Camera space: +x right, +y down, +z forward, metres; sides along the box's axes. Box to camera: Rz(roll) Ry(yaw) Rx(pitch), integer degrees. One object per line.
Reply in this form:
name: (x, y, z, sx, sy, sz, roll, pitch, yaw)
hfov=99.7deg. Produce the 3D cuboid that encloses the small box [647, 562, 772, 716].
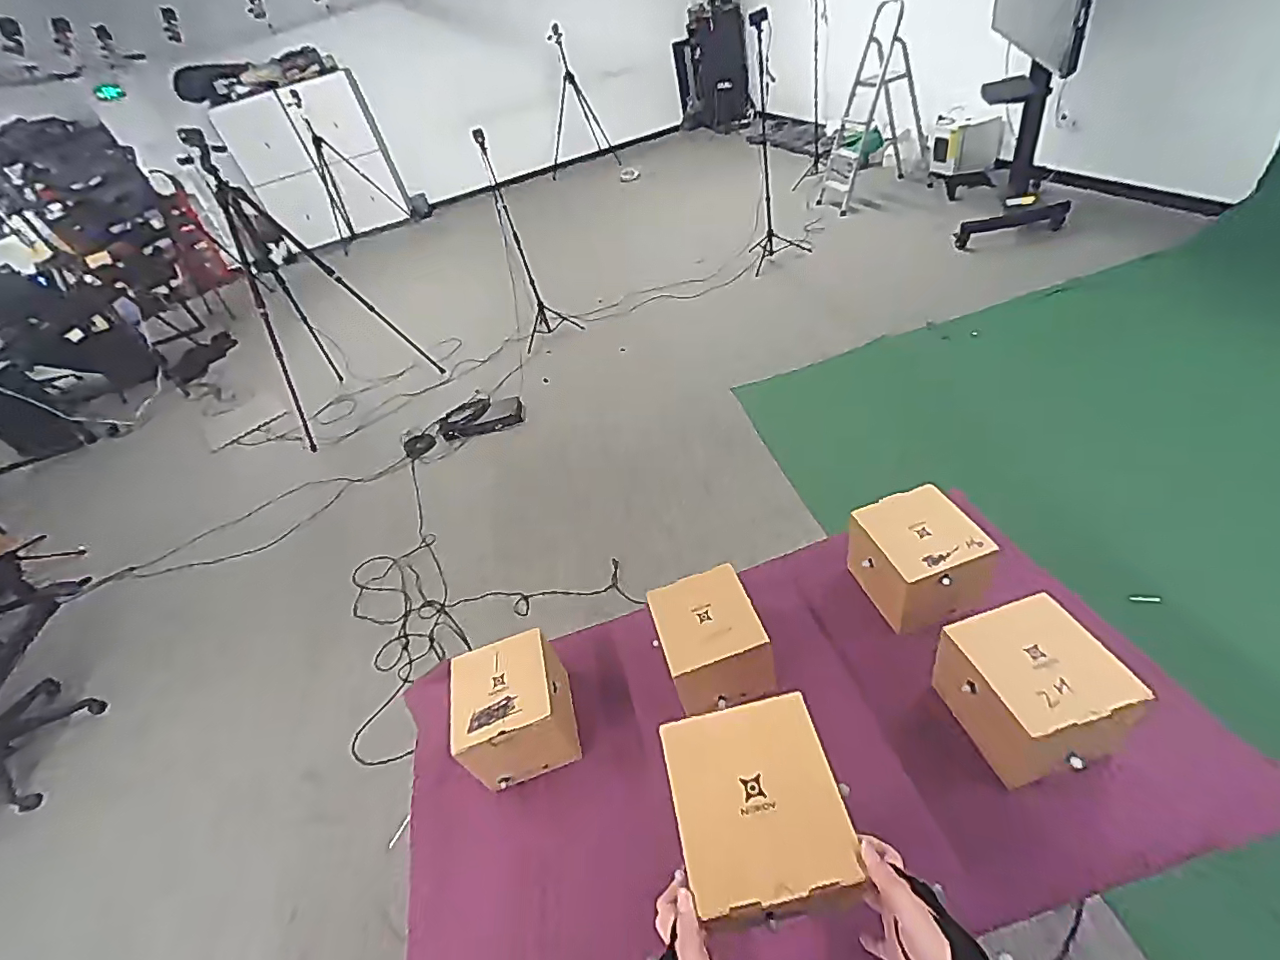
small box: (0.123, 0.283, 0.963, 0.168, 0.176, 0.179, -19, 41, -1)

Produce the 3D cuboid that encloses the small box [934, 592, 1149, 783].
small box: (0.557, 0.300, 0.785, 0.168, 0.176, 0.179, -19, 39, 0)

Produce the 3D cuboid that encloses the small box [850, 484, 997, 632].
small box: (0.500, 0.143, 0.986, 0.168, 0.176, 0.179, -20, 41, -2)

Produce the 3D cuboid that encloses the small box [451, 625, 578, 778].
small box: (-0.217, 0.395, 0.949, 0.168, 0.176, 0.179, -19, 40, -3)
